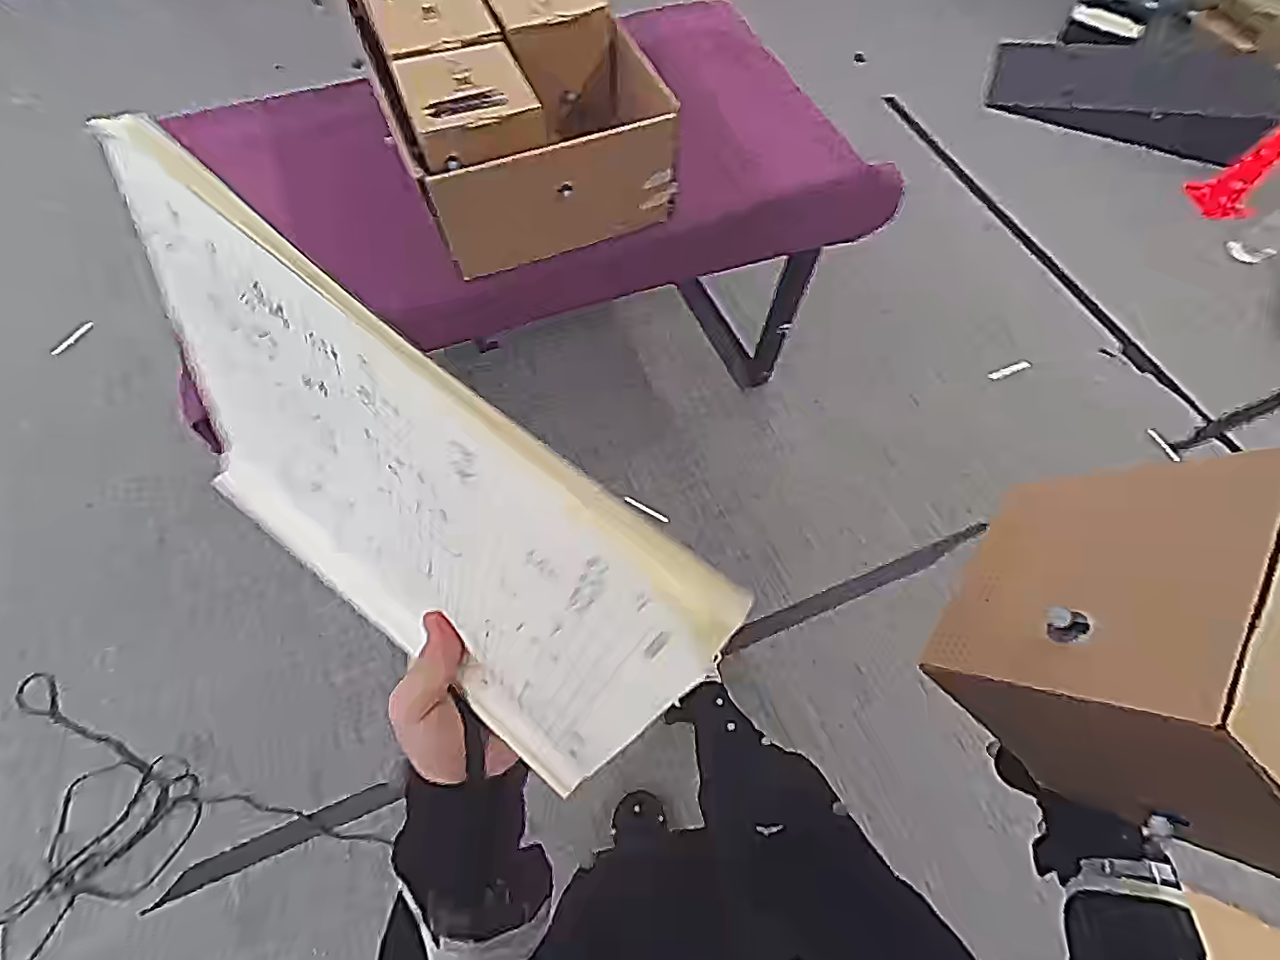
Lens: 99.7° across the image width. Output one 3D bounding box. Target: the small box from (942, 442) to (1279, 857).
[{"bbox_3d":[0.334,0.104,0.343,0.168,0.176,0.179,42,71,-10],"label":"small box"}]
